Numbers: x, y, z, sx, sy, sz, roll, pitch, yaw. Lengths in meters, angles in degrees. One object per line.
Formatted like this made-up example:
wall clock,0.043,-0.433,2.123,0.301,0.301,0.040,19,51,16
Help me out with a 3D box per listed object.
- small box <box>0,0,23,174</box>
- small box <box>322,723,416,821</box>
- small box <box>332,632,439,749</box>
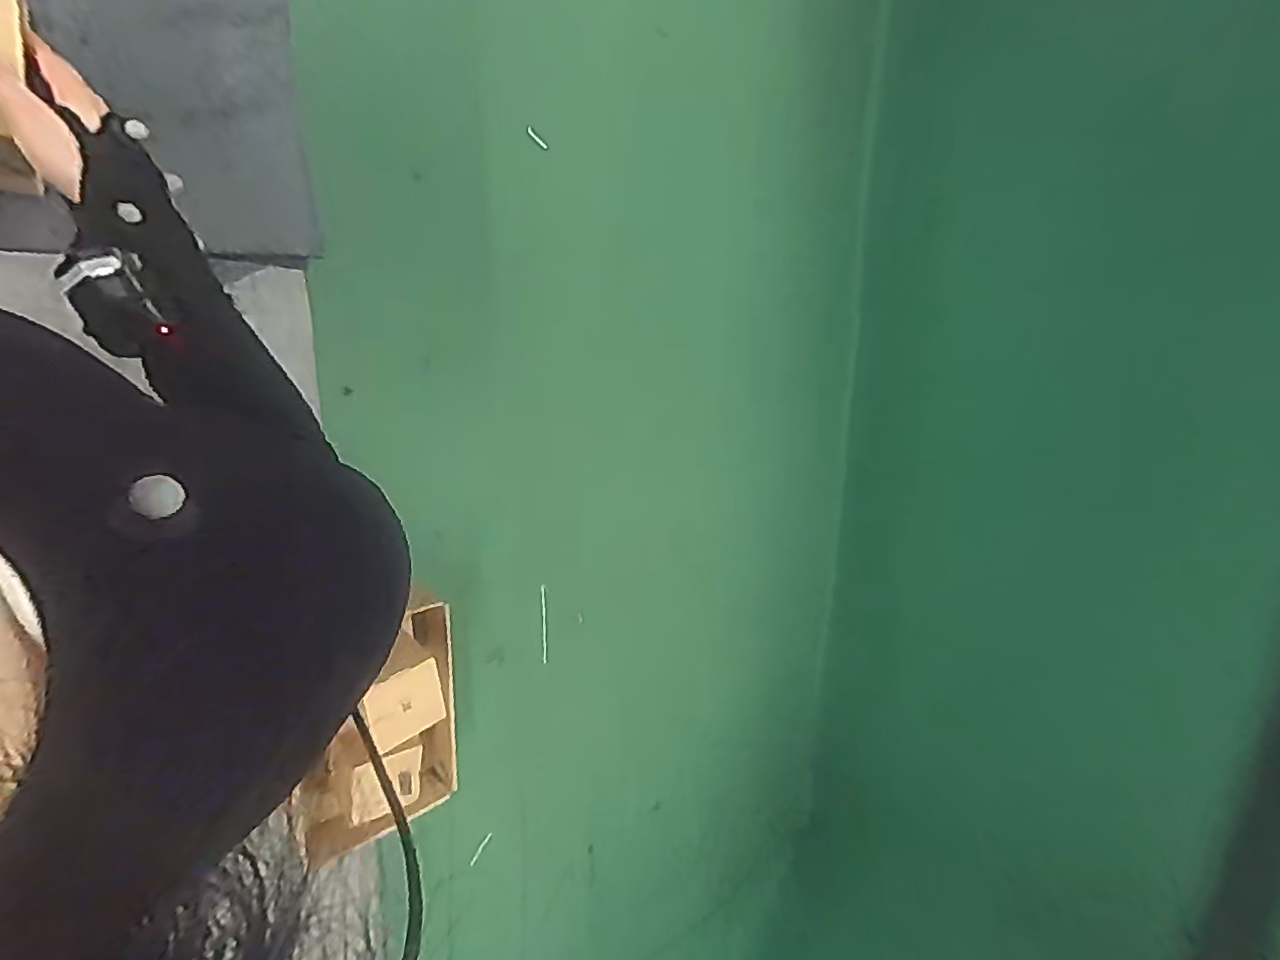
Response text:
small box,-0.550,-0.329,0.361,0.179,0.176,0.168,-5,101,-46
small box,-0.732,0.764,1.459,0.179,0.176,0.168,0,99,-46
small box,-0.604,0.484,1.281,0.168,0.176,0.179,-21,117,-41
